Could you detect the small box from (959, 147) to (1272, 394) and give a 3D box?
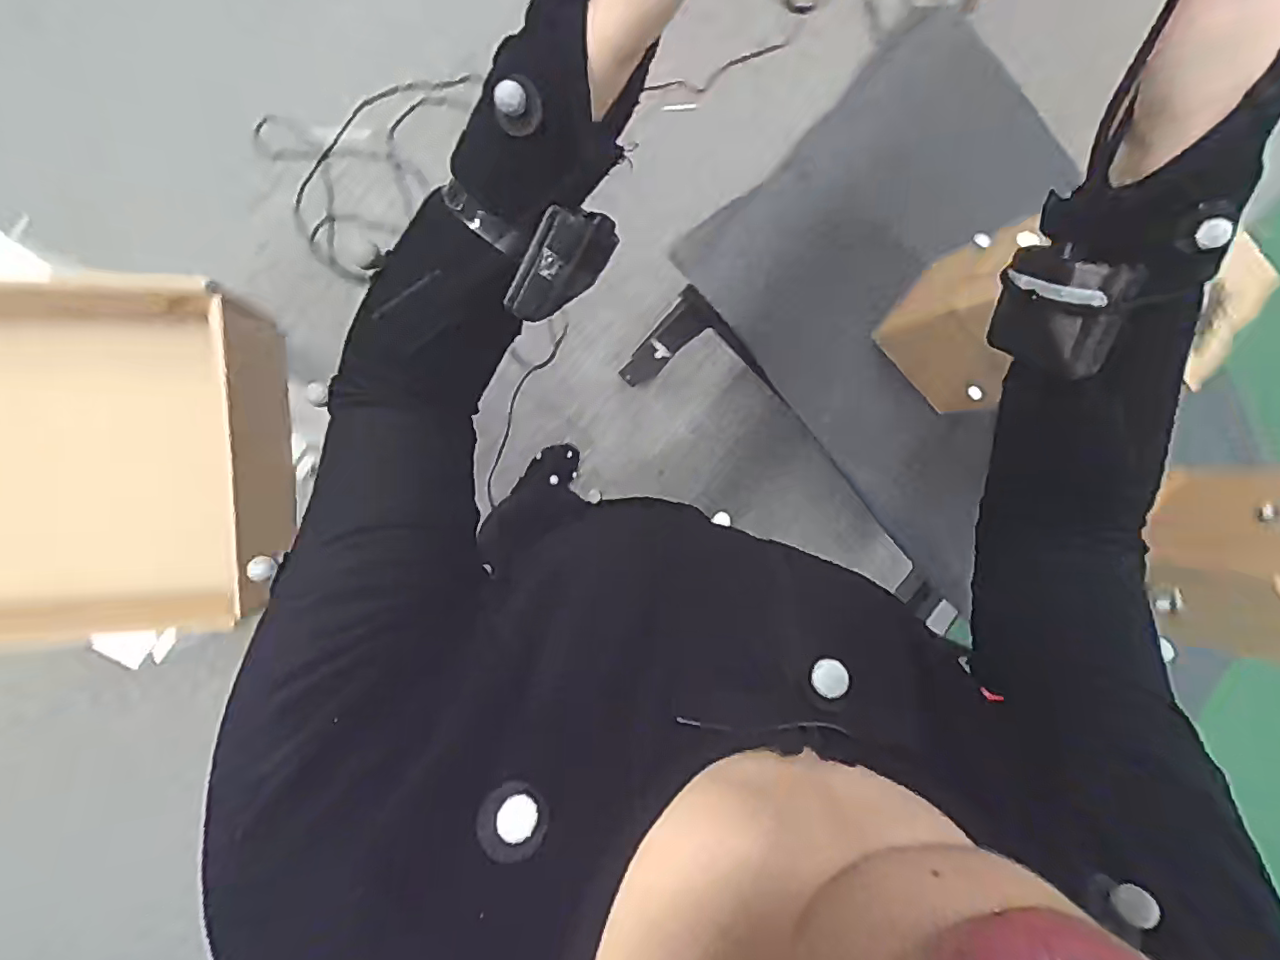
[{"bbox_3d":[0.516,-0.212,0.608,0.179,0.176,0.168,43,84,-10],"label":"small box"}]

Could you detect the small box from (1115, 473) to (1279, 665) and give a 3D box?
[{"bbox_3d":[0.760,0.102,0.672,0.179,0.176,0.168,-42,98,-7],"label":"small box"}]
